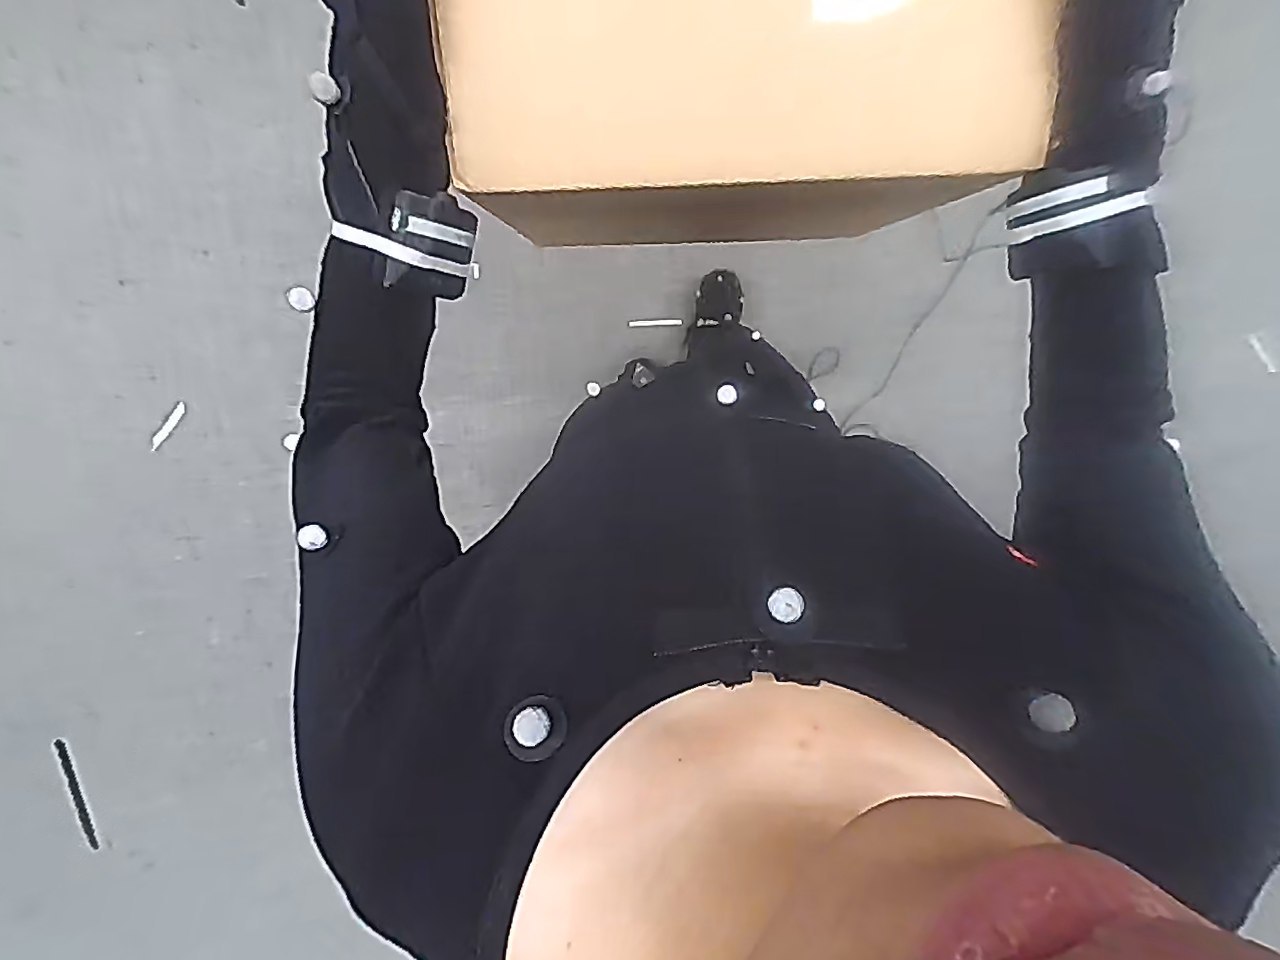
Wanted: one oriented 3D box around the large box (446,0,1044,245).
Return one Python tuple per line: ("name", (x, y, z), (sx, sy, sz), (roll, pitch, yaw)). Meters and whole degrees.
("large box", (0.064, -0.408, 0.485), (0.408, 0.320, 0.320), (-2, 107, 0))
